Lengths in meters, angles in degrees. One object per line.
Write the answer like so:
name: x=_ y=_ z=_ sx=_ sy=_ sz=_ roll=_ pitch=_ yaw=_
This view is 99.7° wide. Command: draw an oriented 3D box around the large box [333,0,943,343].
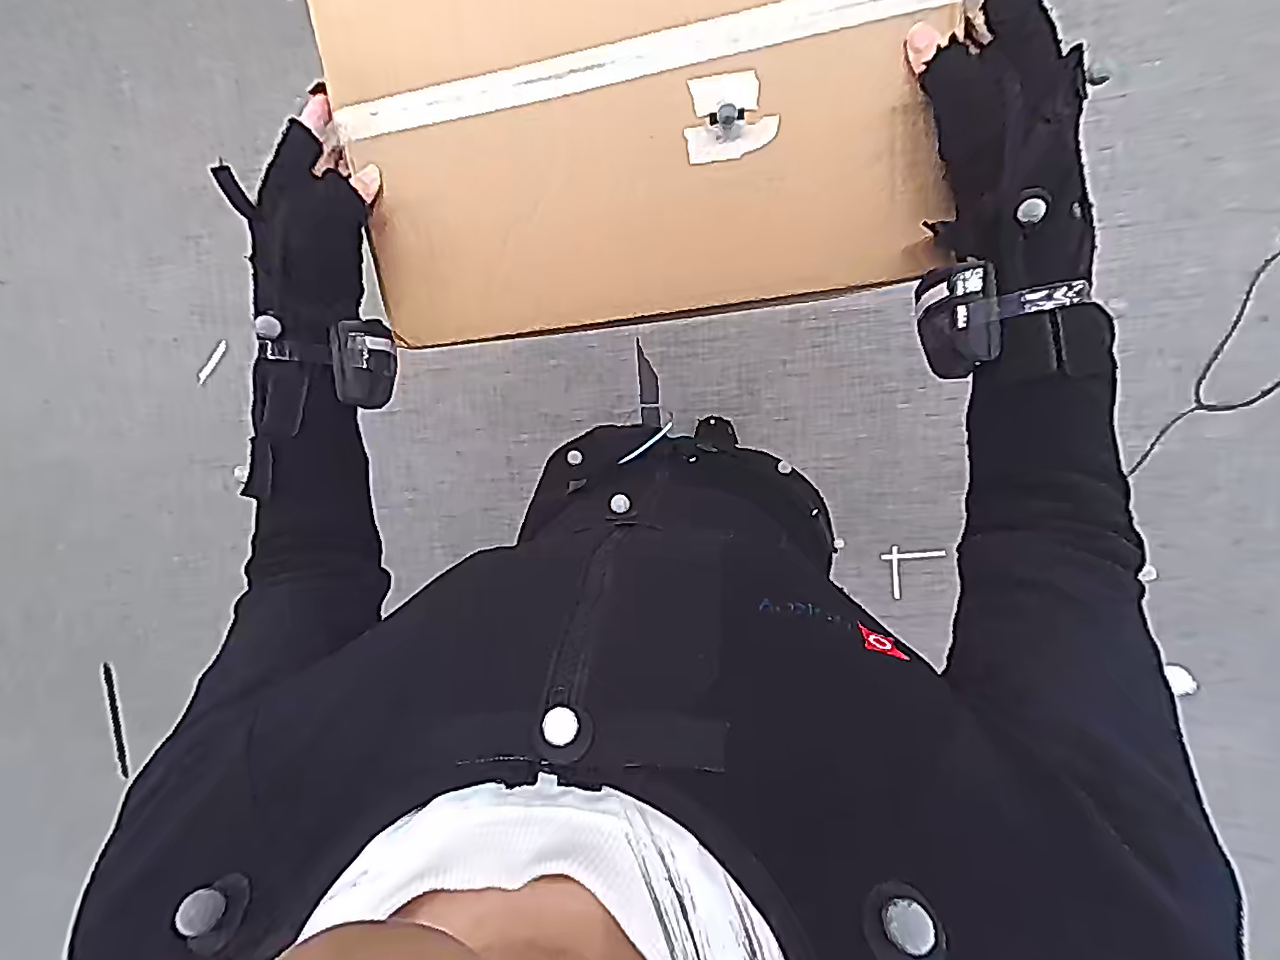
large box: x=0.010 y=-0.317 z=0.505 sx=0.408 sy=0.320 sz=0.320 roll=-5 pitch=106 yaw=10
